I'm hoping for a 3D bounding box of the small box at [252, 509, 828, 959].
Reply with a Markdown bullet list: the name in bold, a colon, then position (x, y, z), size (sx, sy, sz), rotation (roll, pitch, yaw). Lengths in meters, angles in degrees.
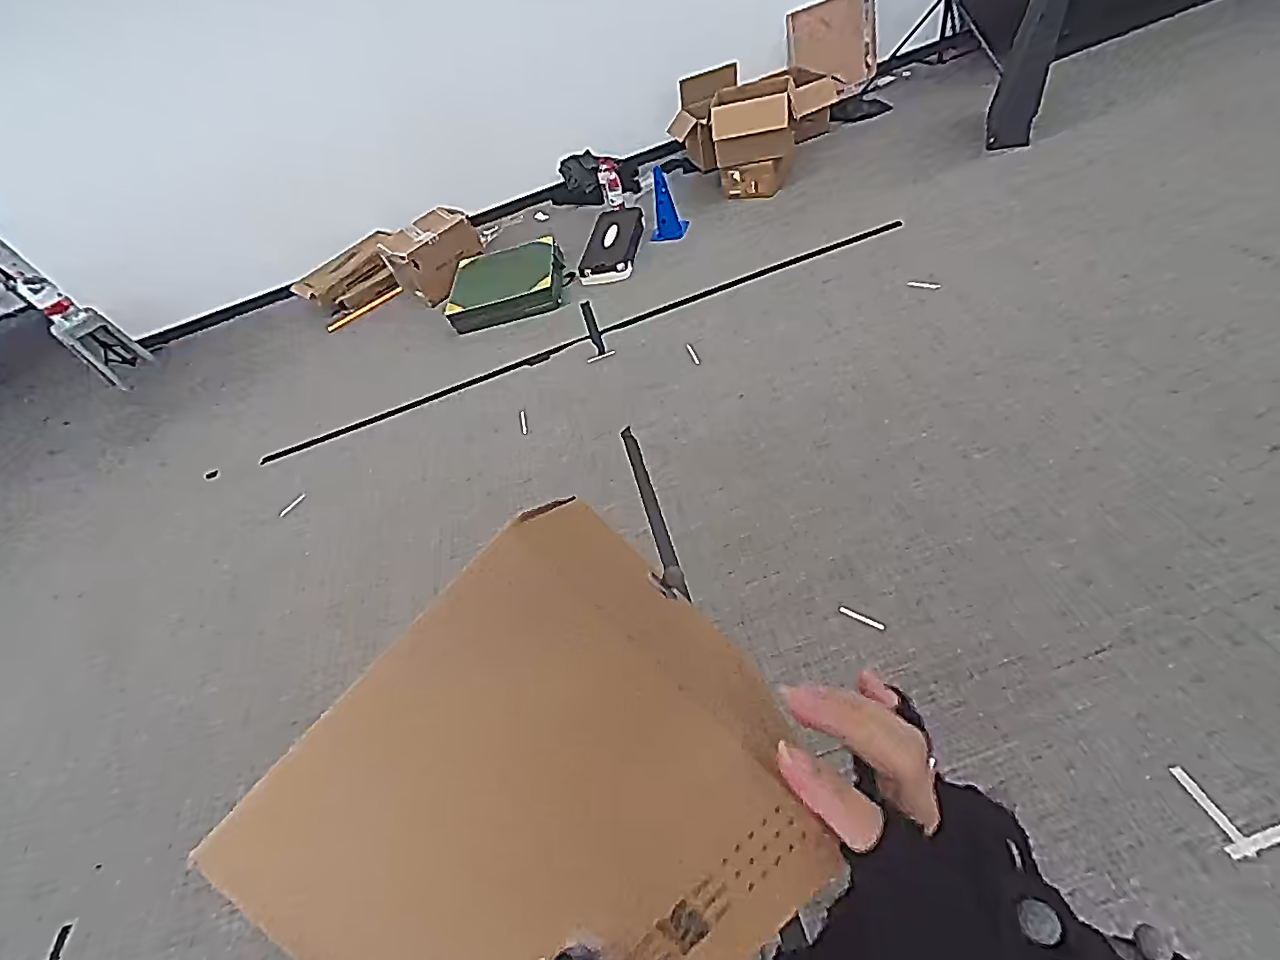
- **small box**: position (-0.035, 0.136, 0.289), size (0.176, 0.179, 0.168), rotation (43, 93, 0)
